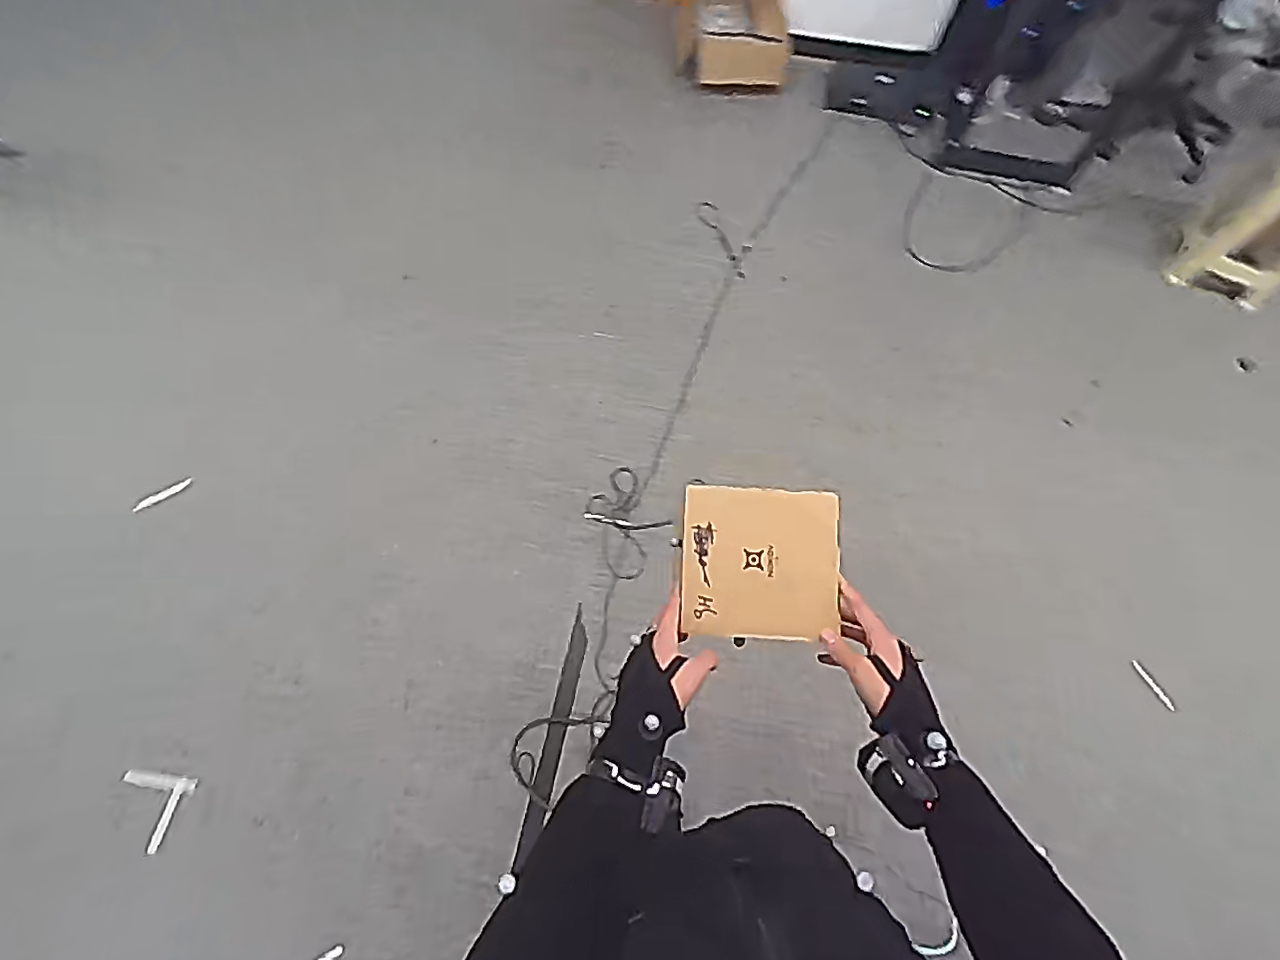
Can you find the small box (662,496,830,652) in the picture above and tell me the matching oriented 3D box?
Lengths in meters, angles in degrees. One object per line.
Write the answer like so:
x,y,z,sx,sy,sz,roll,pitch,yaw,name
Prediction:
0.123,0.119,0.681,0.179,0.176,0.168,3,78,0,small box
